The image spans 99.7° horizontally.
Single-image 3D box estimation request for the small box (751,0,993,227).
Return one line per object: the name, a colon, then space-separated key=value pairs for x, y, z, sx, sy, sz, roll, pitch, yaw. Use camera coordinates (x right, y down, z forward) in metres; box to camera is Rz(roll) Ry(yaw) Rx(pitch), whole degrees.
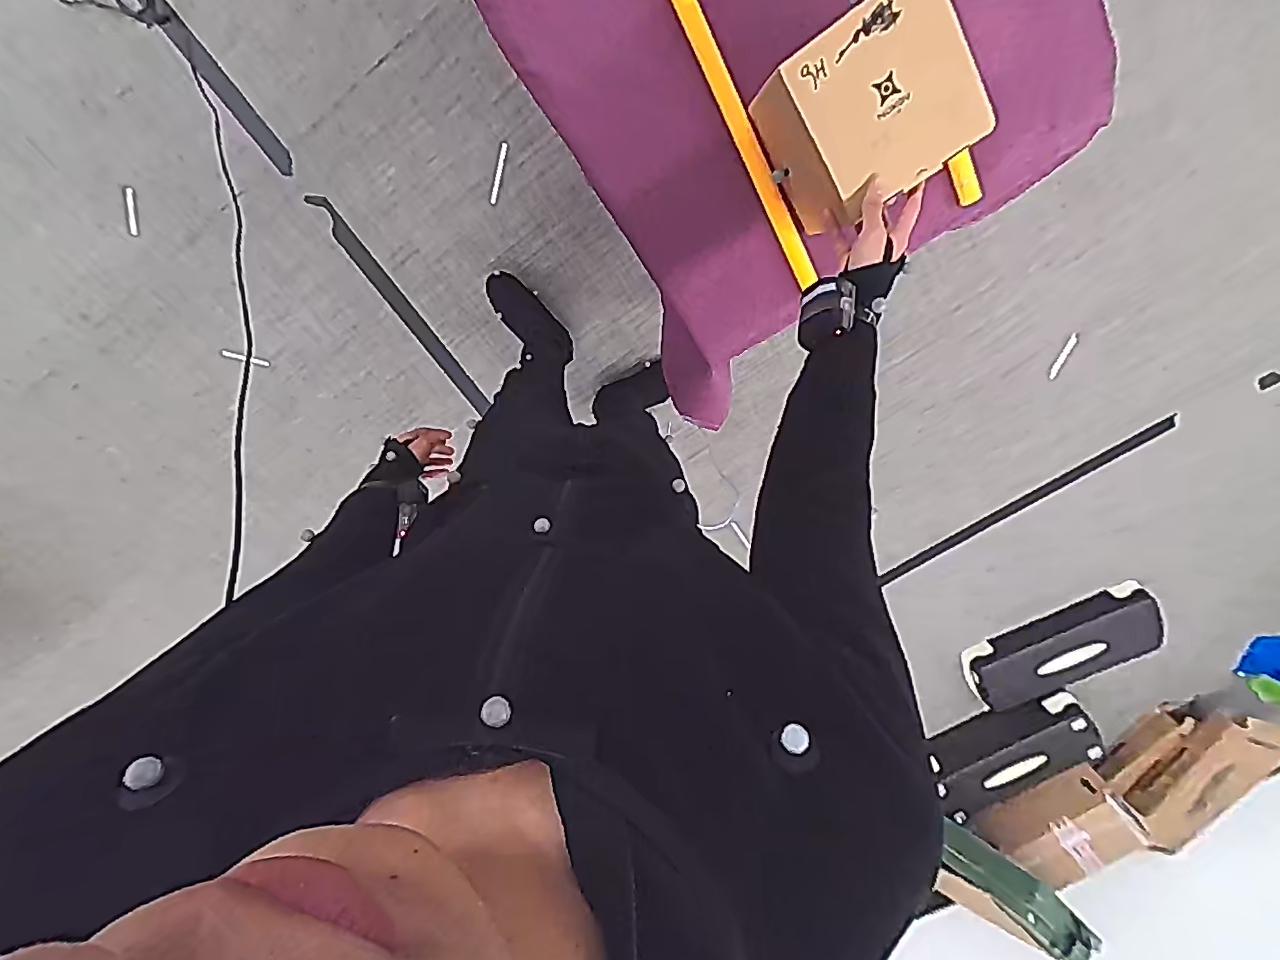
small box: x=0.250 y=-0.415 z=0.619 sx=0.168 sy=0.176 sz=0.179 roll=-32 pitch=109 yaw=11
